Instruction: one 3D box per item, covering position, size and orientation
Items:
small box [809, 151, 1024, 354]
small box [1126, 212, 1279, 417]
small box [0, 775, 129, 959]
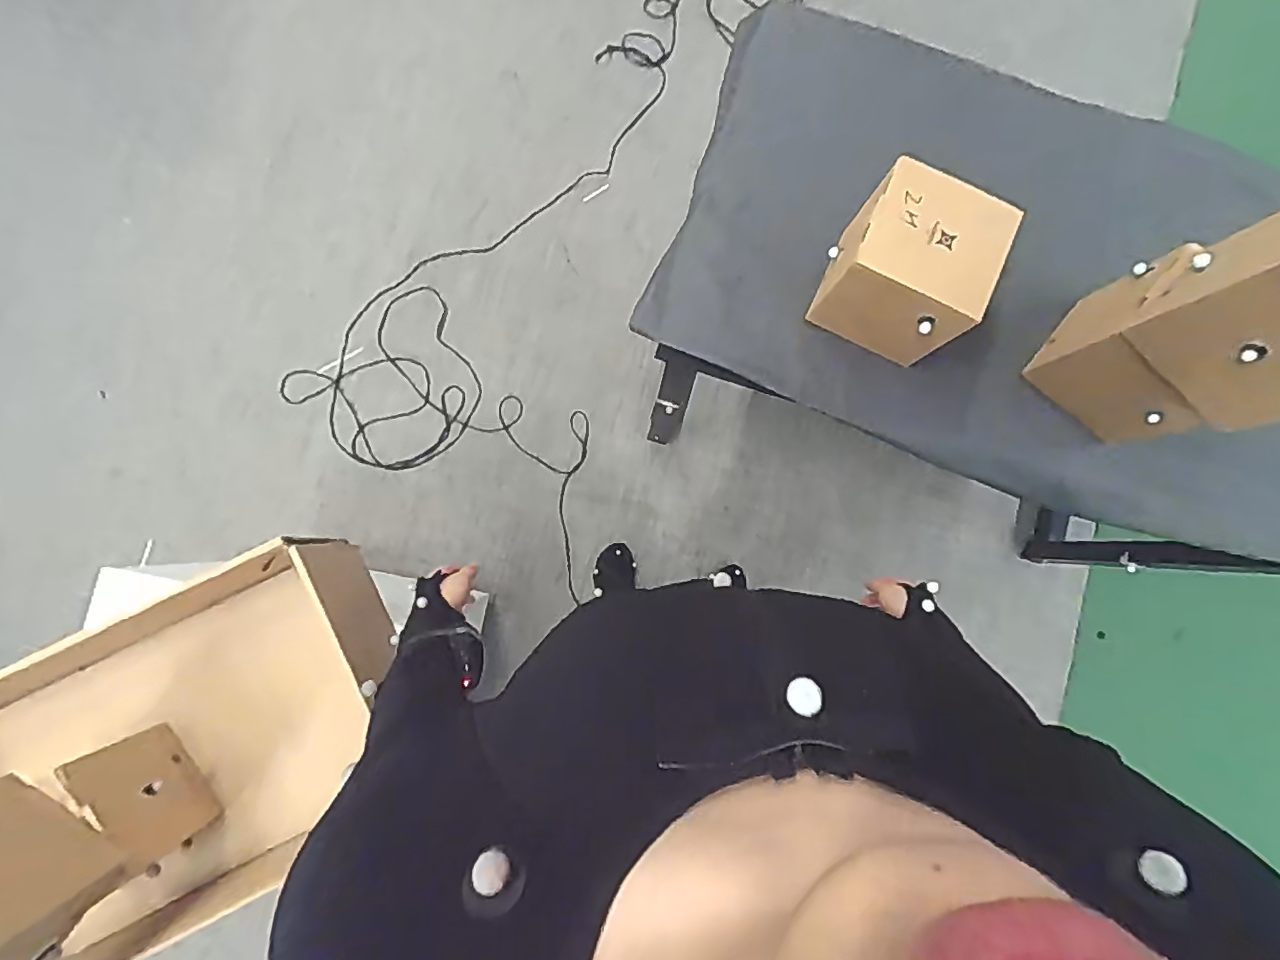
[{"bbox_3d":[0.365,-0.295,0.746,0.179,0.176,0.168,26,82,1],"label":"small box"},{"bbox_3d":[0.703,-0.186,0.580,0.168,0.176,0.179,-41,86,-7],"label":"small box"},{"bbox_3d":[-0.716,0.444,0.560,0.179,0.176,0.168,35,85,-1],"label":"small box"}]
